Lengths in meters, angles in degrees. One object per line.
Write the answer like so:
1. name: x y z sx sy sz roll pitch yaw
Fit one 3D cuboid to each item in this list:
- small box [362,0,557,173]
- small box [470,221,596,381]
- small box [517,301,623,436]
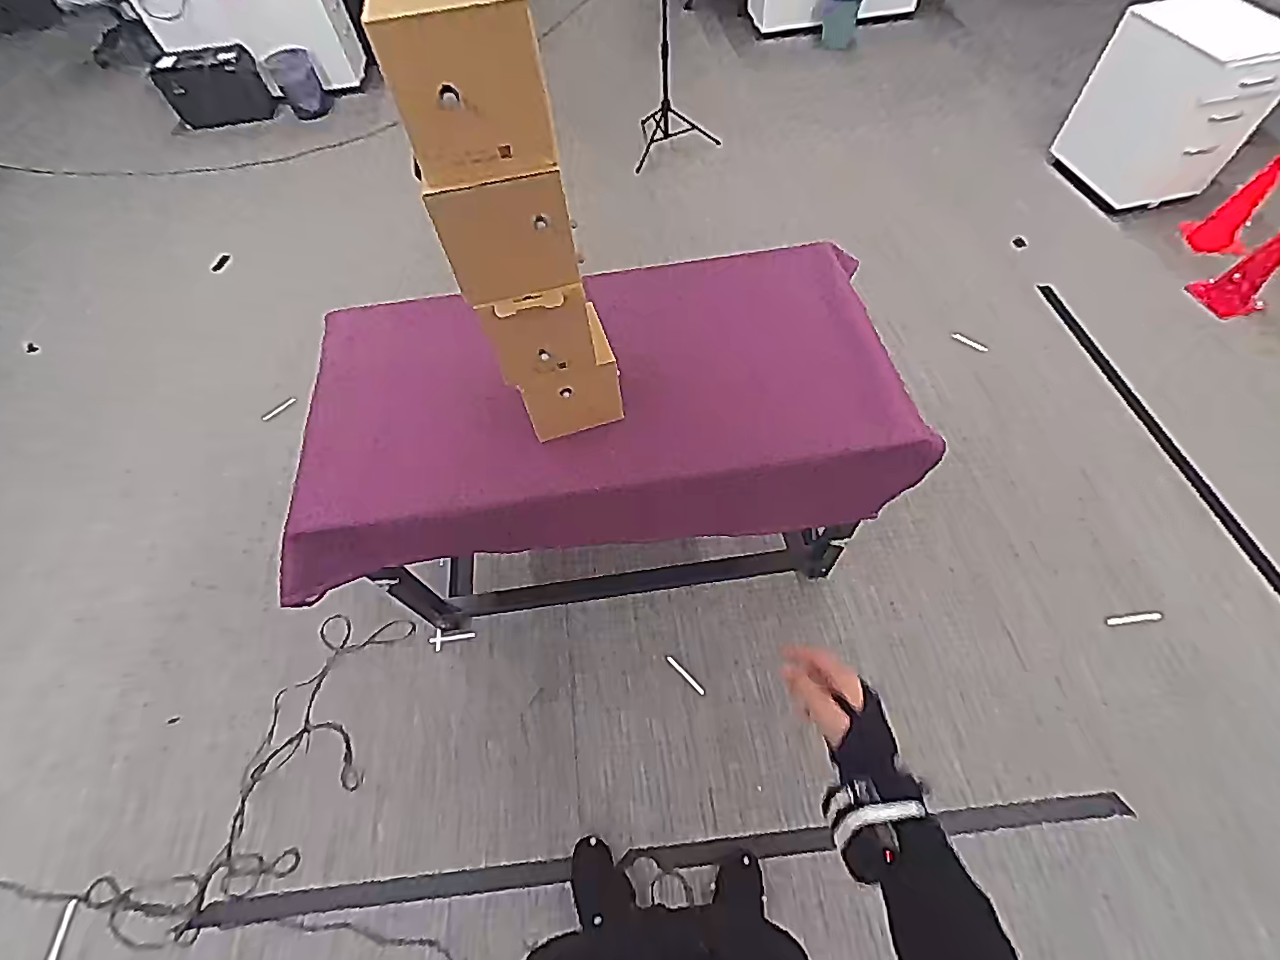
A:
1. small box: -0.200 -0.488 0.639 0.168 0.176 0.179 -12 57 -3
2. small box: -0.175 -0.295 0.903 0.168 0.176 0.179 -13 59 -2
3. small box: -0.142 -0.207 1.040 0.179 0.176 0.168 -17 59 -6
